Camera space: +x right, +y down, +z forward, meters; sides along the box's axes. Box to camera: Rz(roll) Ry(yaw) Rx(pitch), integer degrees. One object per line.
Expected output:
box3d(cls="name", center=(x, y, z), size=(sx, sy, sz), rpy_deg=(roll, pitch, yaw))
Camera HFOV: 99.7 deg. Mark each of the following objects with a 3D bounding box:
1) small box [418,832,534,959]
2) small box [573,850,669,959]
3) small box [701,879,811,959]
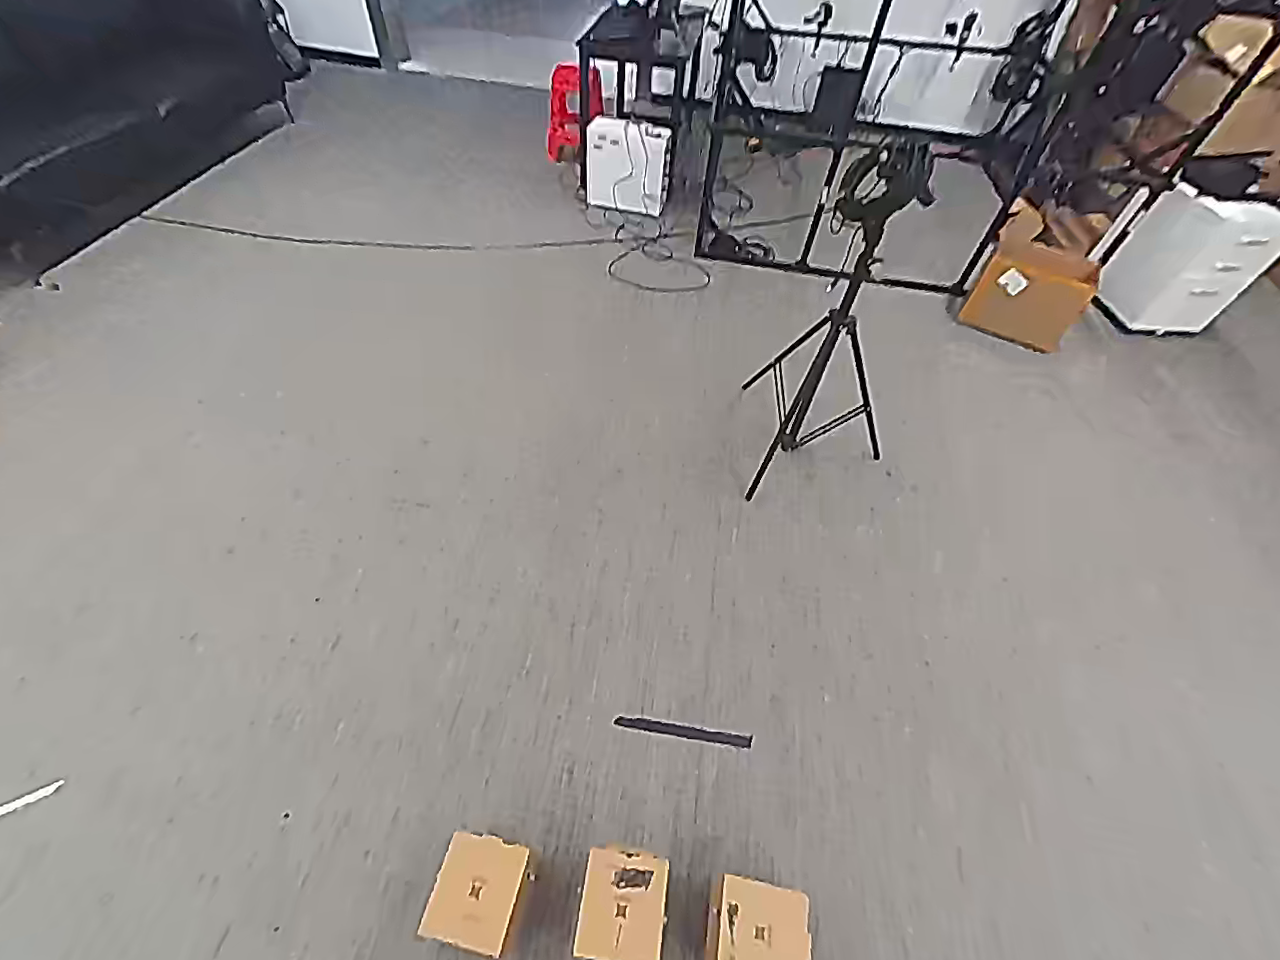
box3d(cls="small box", center=(-0.325, 0.858, 1.118), size=(0.168, 0.176, 0.179), rpy_deg=(11, 52, 6))
box3d(cls="small box", center=(-0.039, 0.887, 1.113), size=(0.168, 0.176, 0.179), rpy_deg=(8, 51, 3))
box3d(cls="small box", center=(0.234, 0.934, 1.100), size=(0.179, 0.176, 0.168), rpy_deg=(12, 51, 4))
